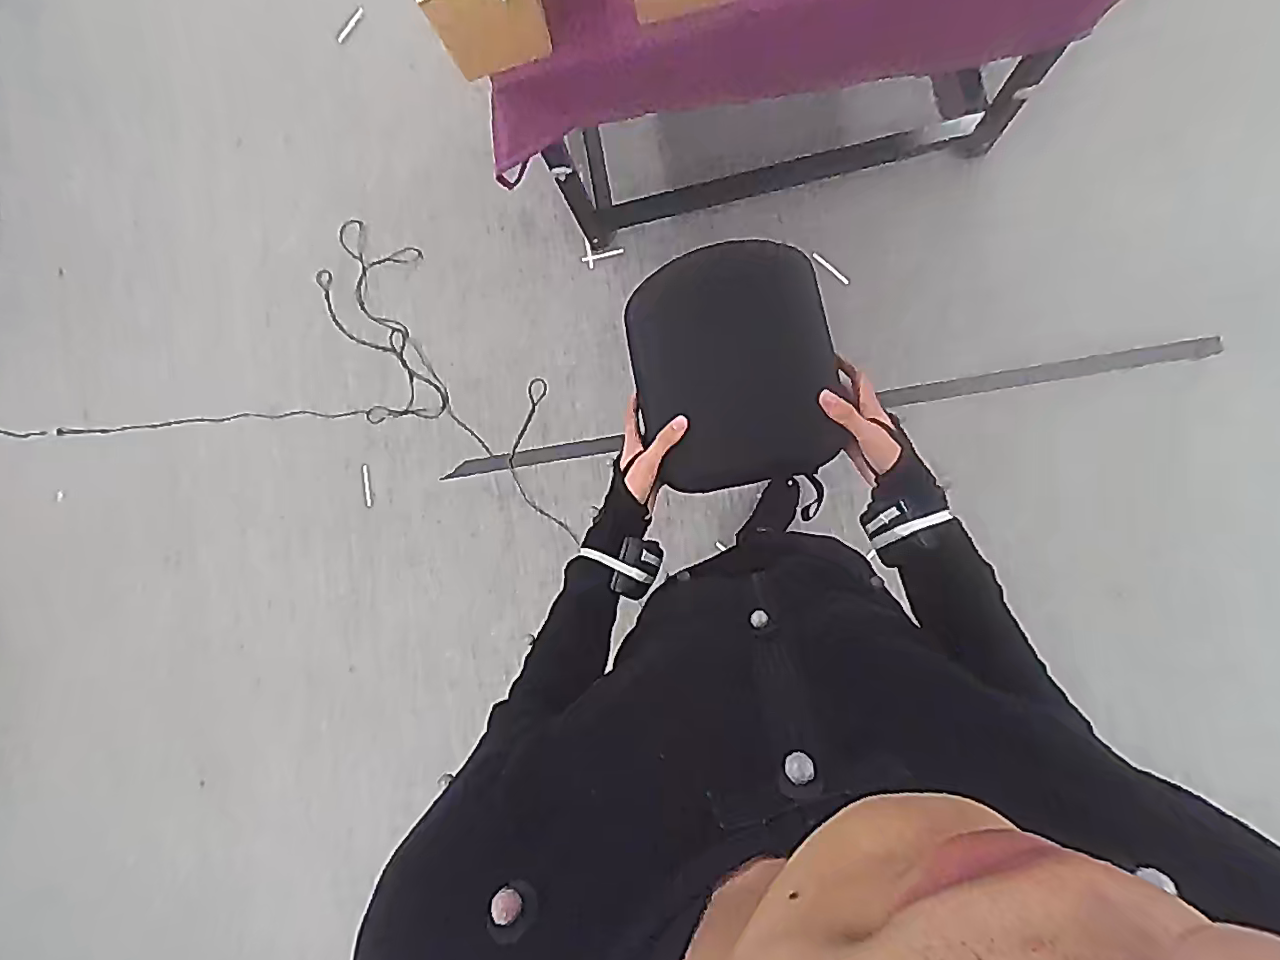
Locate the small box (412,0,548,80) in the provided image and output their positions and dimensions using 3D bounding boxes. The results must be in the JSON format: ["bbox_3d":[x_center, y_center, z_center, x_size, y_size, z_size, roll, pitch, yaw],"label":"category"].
[{"bbox_3d":[-0.278,-0.837,0.925,0.179,0.176,0.168,-13,85,7],"label":"small box"}]
